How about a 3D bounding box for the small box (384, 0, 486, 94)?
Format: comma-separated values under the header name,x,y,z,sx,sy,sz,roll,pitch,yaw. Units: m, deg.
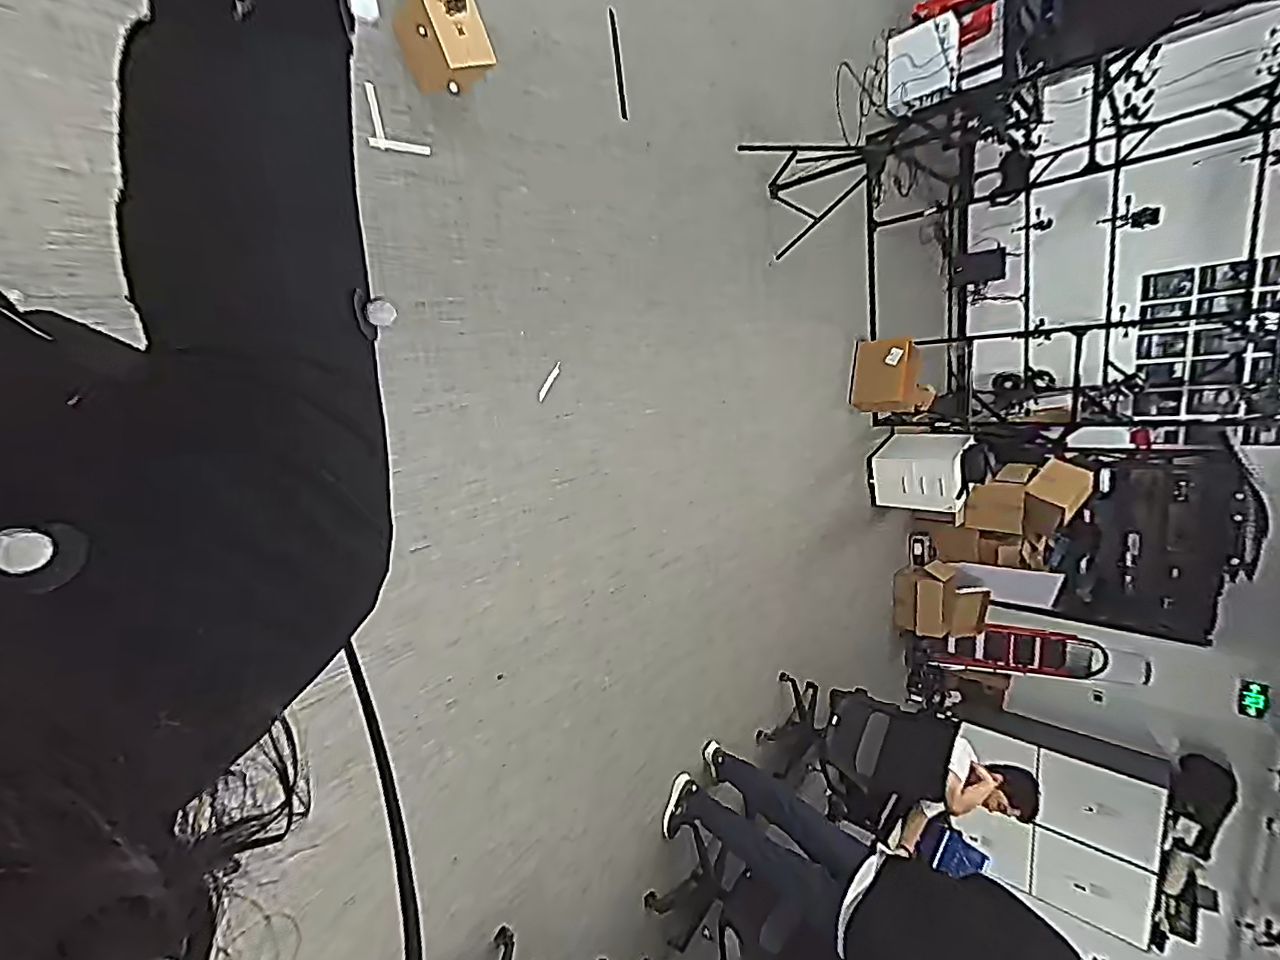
name,x,y,z,sx,sy,sz,roll,pitch,yaw
small box,-0.563,-1.196,1.479,0.168,0.176,0.179,-41,123,-37
